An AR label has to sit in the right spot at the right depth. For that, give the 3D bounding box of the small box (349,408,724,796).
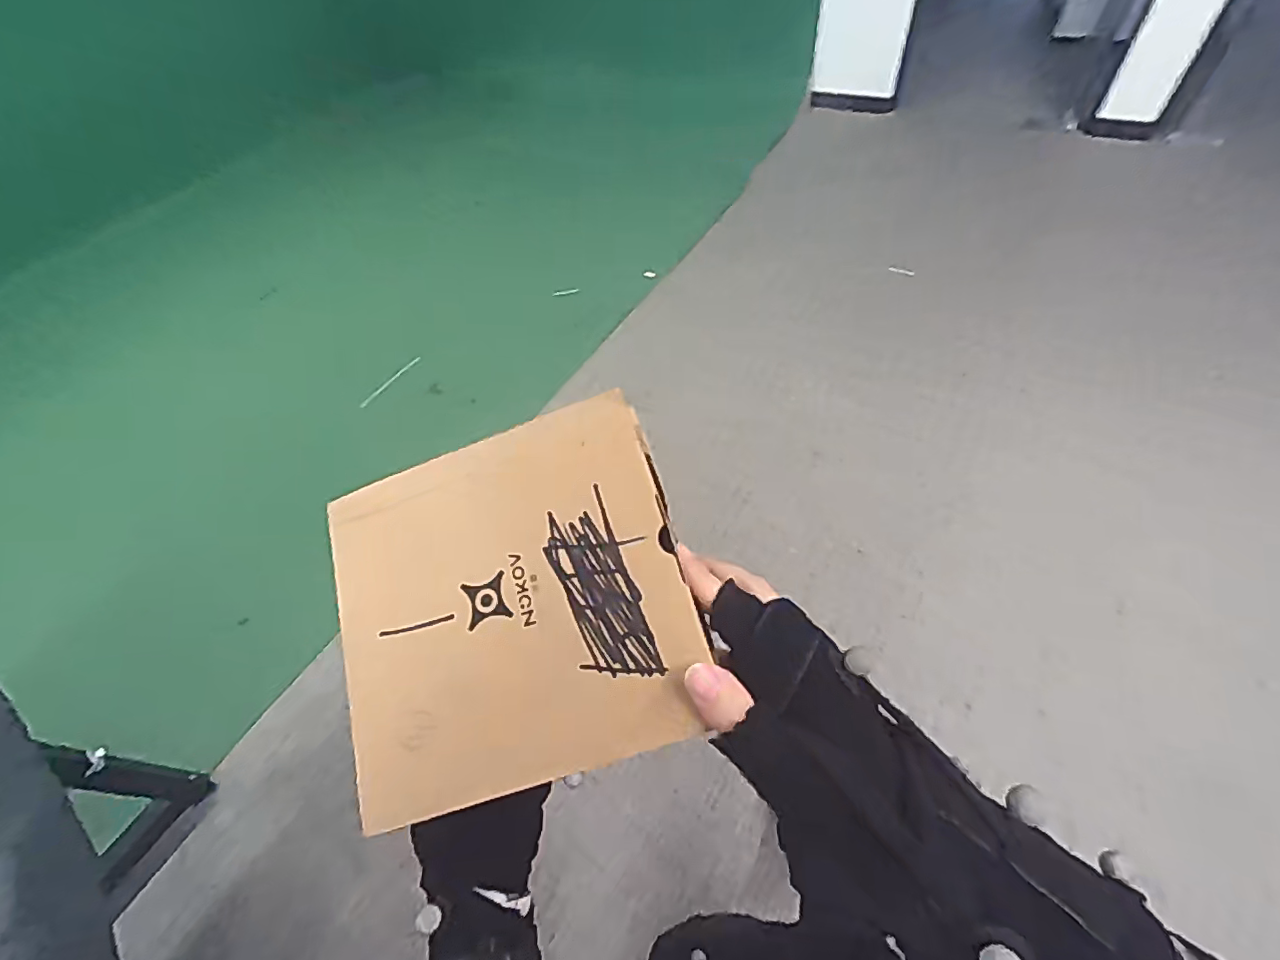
[{"bbox_3d":[-0.056,0.080,0.364,0.179,0.176,0.168,-19,71,1],"label":"small box"}]
